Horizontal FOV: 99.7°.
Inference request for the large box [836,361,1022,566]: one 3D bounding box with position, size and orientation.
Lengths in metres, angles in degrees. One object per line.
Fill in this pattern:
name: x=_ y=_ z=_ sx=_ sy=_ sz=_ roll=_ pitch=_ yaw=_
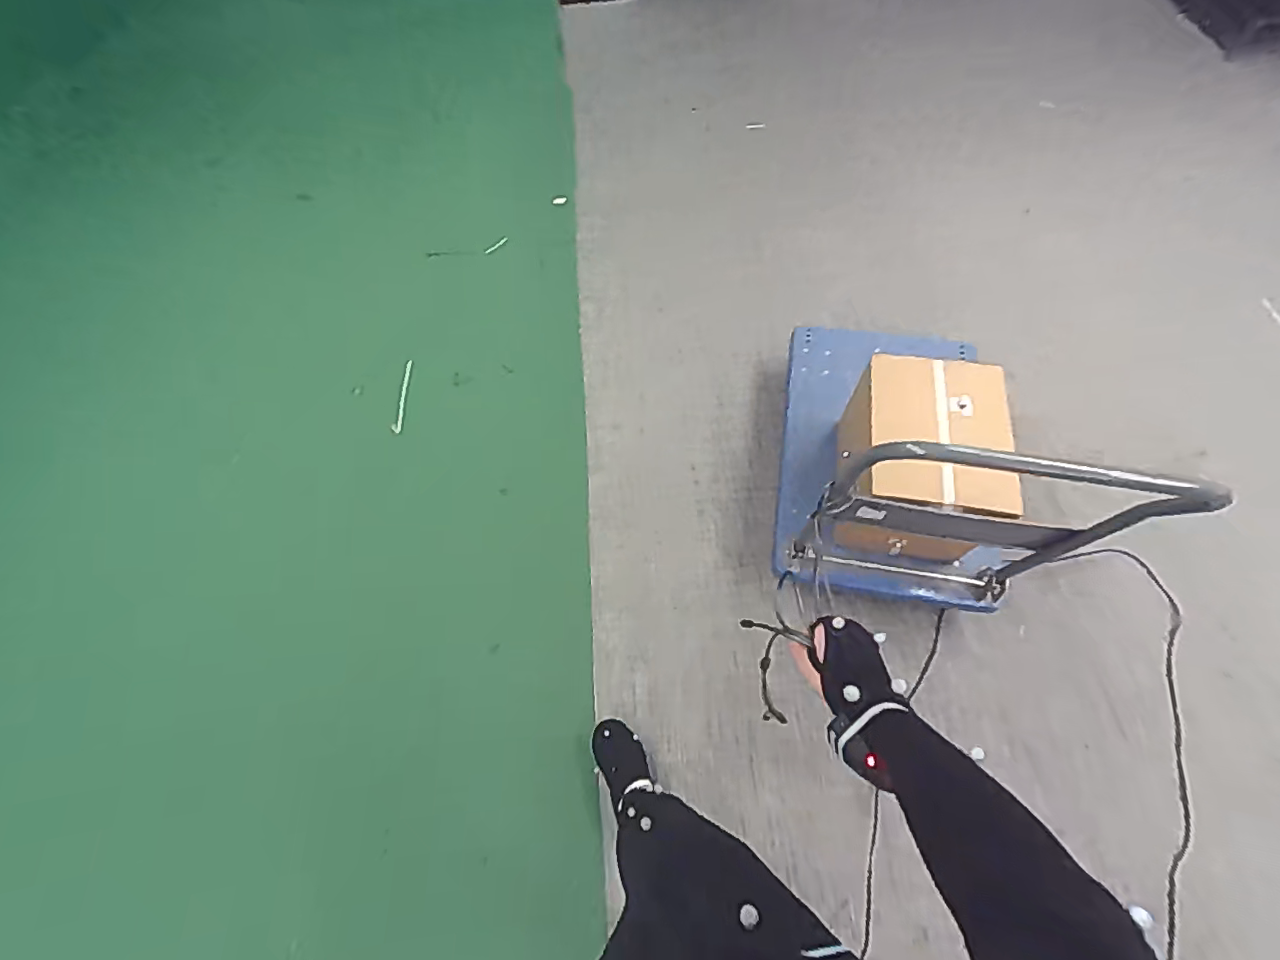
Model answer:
large box: x=0.690 y=-0.034 z=1.366 sx=0.320 sy=0.320 sz=0.408 roll=8 pitch=62 yaw=7
